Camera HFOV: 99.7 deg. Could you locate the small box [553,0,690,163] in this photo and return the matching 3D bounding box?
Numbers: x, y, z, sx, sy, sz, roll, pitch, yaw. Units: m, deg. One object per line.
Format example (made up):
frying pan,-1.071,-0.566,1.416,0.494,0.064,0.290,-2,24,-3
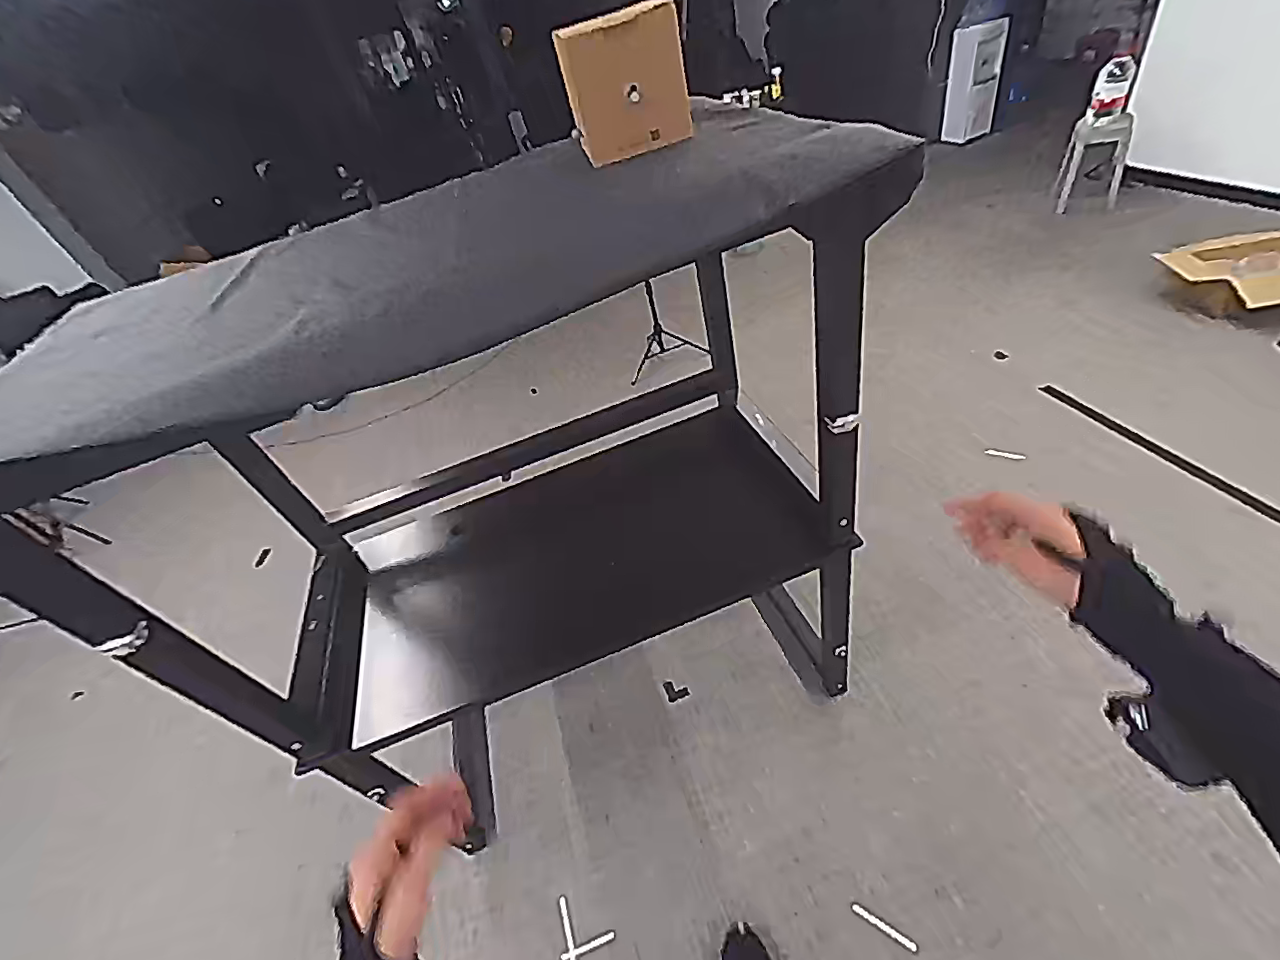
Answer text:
small box,-0.028,-0.627,0.857,0.168,0.176,0.179,-17,44,0
